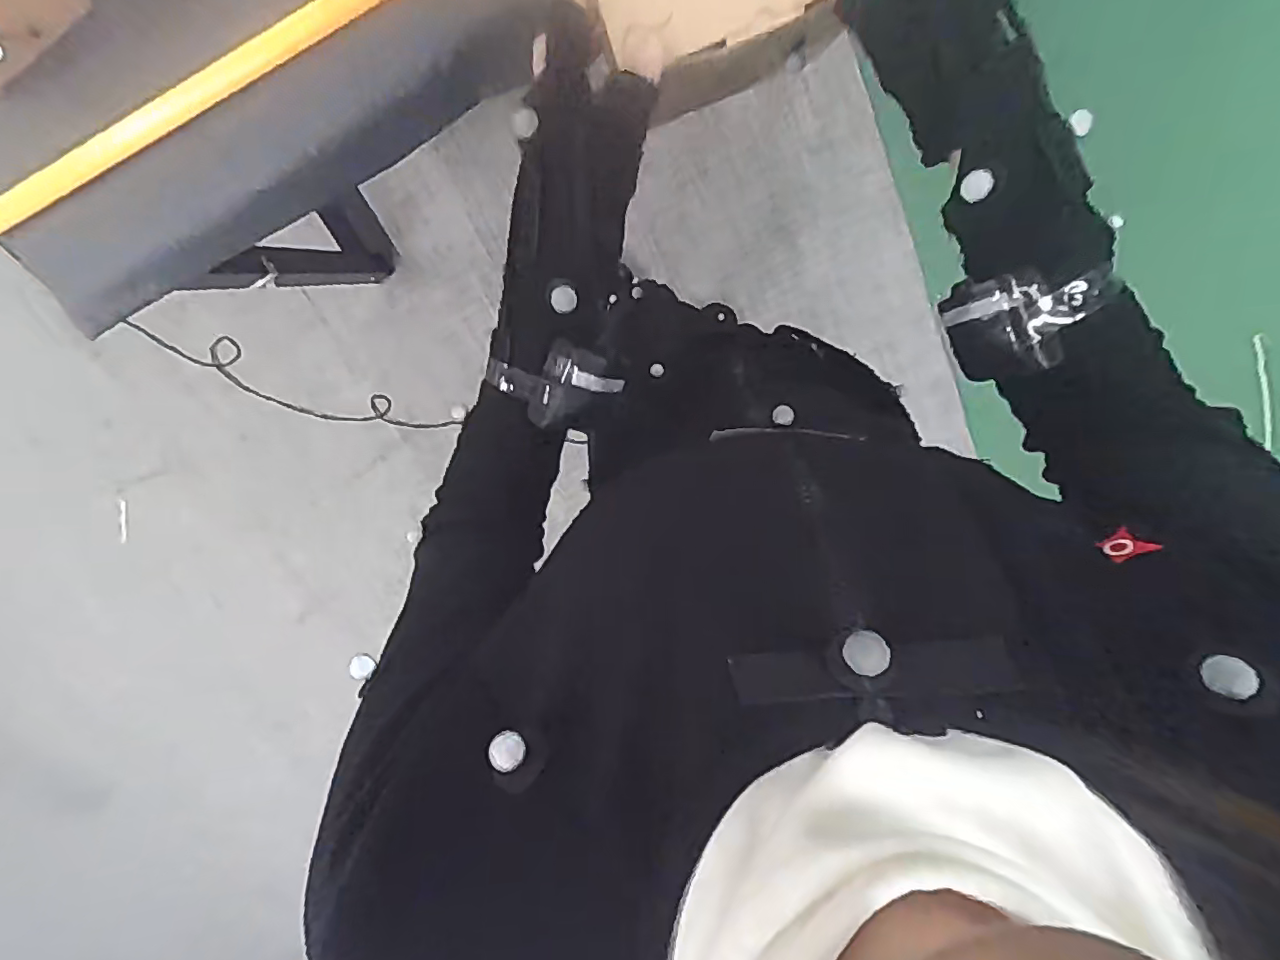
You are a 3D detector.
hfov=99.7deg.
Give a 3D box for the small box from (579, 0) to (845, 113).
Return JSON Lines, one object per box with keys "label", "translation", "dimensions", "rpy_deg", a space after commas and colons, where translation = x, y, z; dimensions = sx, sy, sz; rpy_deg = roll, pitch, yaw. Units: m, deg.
{"label": "small box", "translation": [0.035, -0.358, 0.333], "dimensions": [0.168, 0.176, 0.179], "rpy_deg": [-19, 111, 6]}
